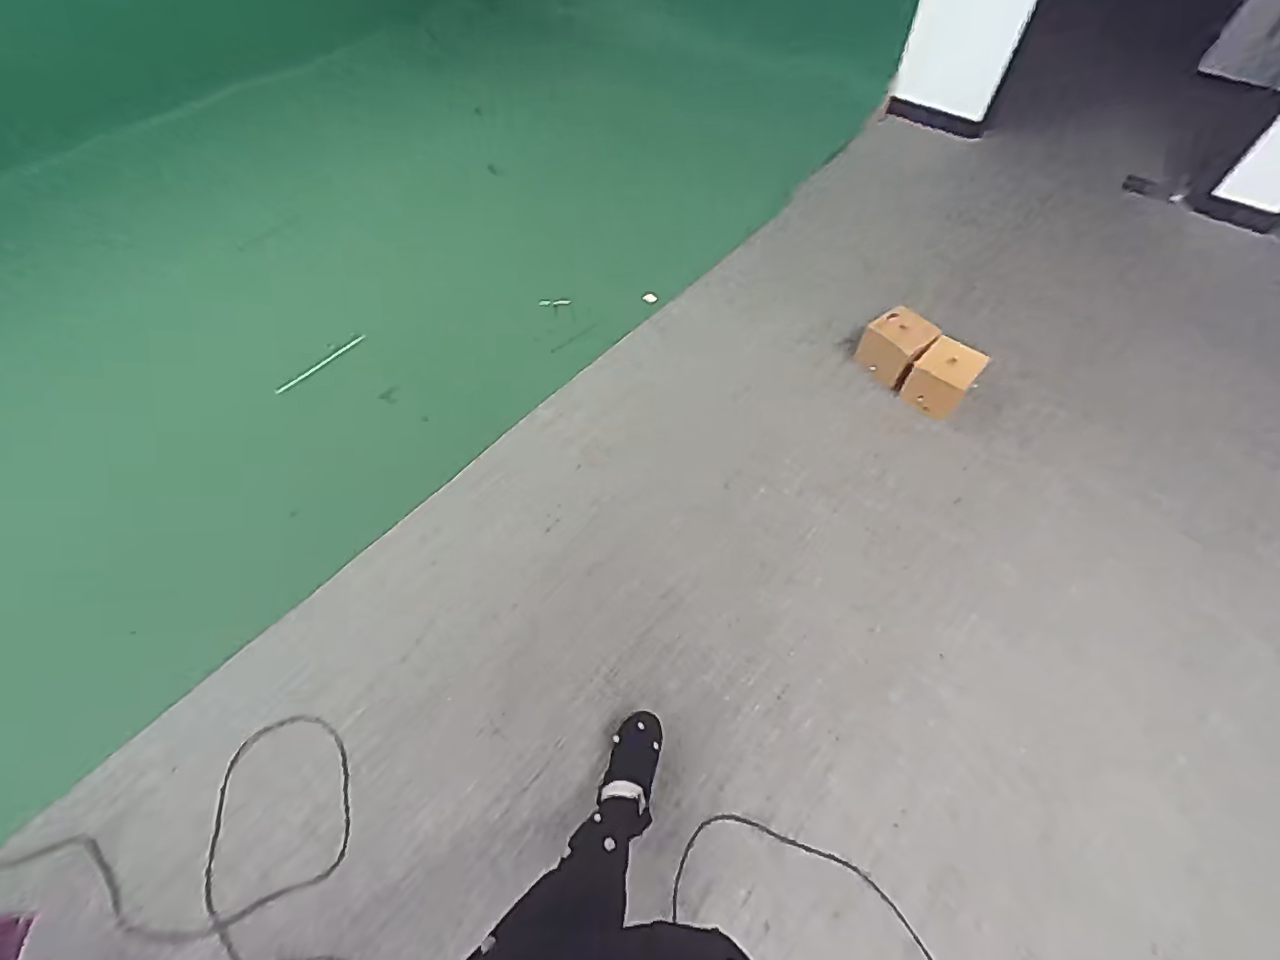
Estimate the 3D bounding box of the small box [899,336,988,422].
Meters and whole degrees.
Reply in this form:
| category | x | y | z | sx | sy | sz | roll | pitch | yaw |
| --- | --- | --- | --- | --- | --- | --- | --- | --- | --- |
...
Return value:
| category | x | y | z | sx | sy | sz | roll | pitch | yaw |
| --- | --- | --- | --- | --- | --- | --- | --- | --- | --- |
| small box | 0.977 | -0.326 | 1.760 | 0.168 | 0.176 | 0.179 | 37 | 68 | 22 |
